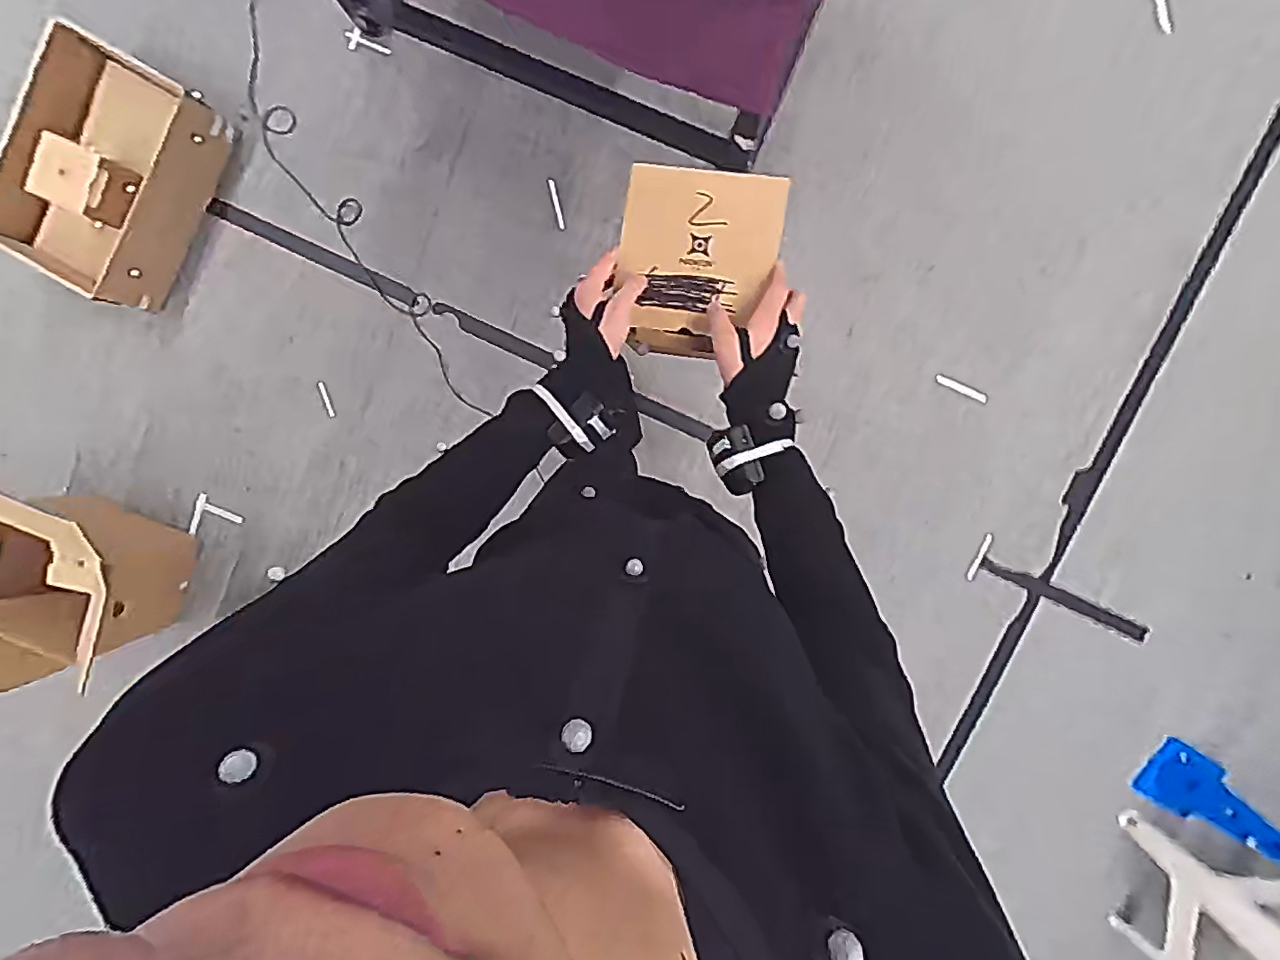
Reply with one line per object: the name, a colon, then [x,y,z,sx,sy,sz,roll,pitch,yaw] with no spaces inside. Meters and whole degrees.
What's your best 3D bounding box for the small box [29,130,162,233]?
small box: [-1.484,-0.807,1.485,0.179,0.176,0.168,25,95,1]
